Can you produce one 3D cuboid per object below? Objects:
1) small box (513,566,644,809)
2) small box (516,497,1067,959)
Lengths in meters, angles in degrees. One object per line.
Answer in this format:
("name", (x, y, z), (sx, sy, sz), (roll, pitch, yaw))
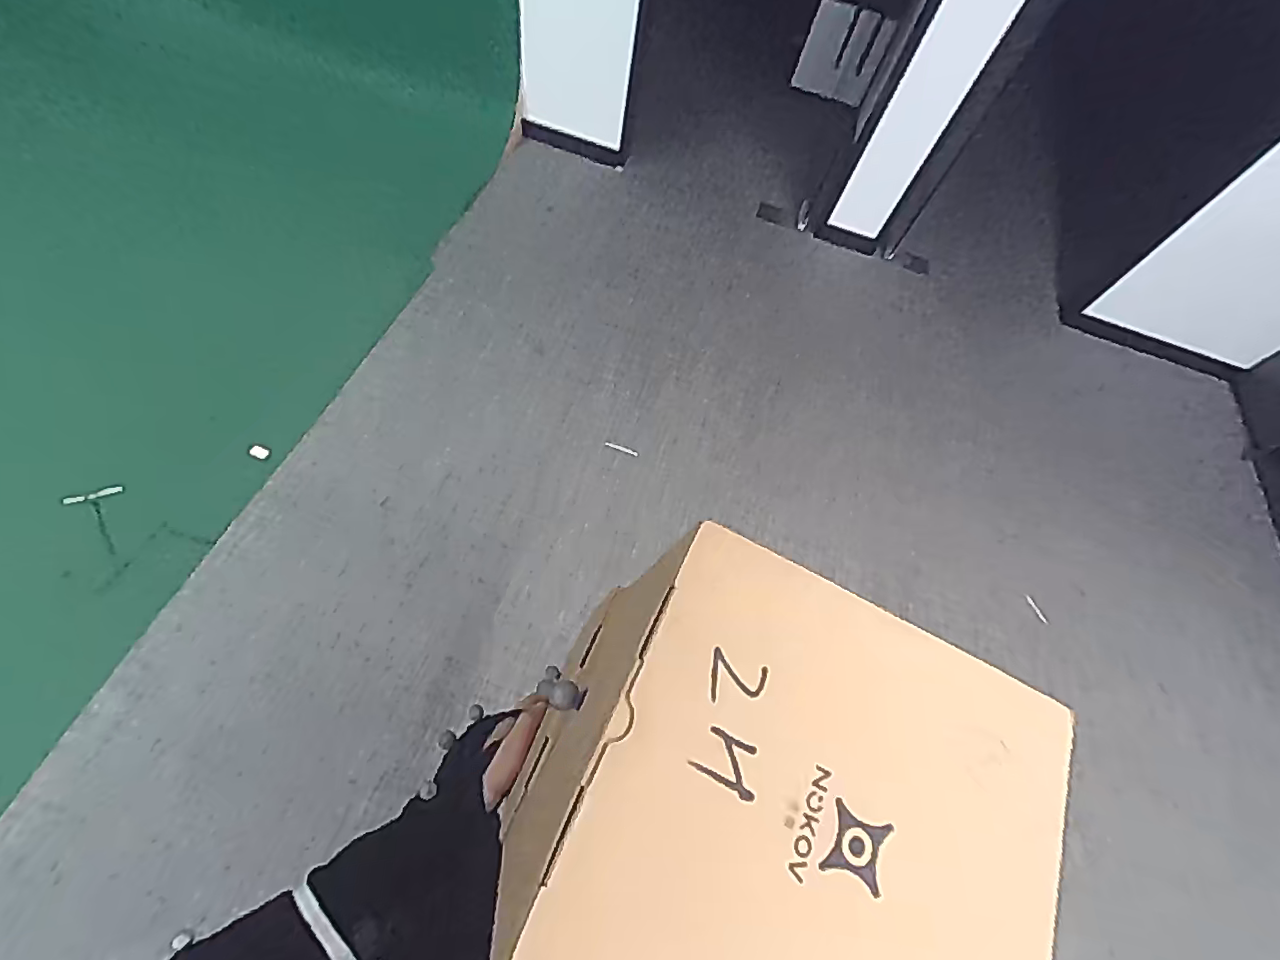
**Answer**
("small box", (0.019, 0.193, 0.422), (0.179, 0.176, 0.168), (26, 66, 0))
("small box", (0.056, 0.138, 0.270), (0.179, 0.176, 0.168), (27, 65, 0))
